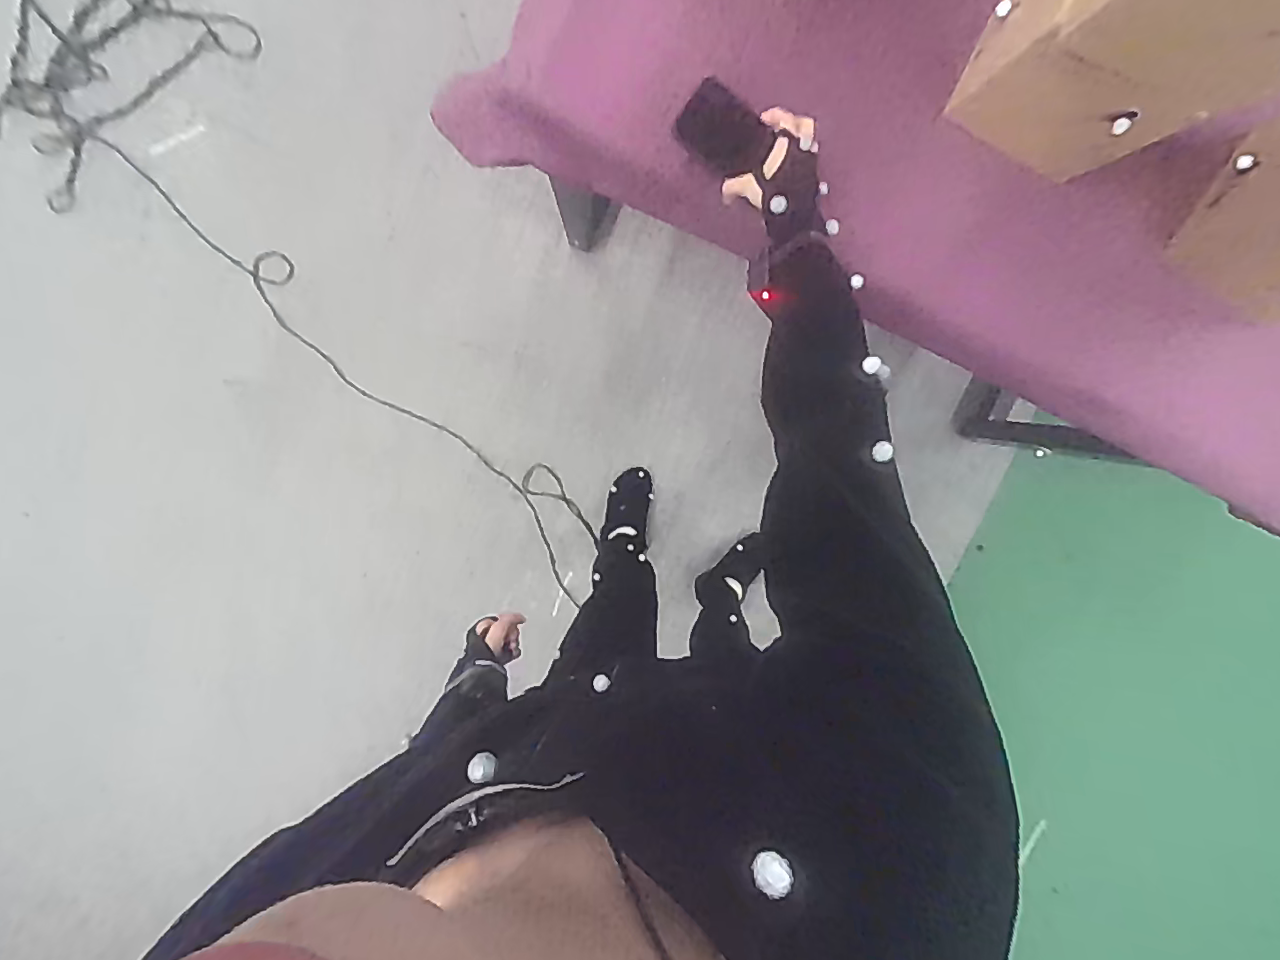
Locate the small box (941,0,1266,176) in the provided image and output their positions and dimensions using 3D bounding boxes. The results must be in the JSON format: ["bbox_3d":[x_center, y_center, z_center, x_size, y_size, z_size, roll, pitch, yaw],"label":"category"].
[{"bbox_3d":[0.466,-0.450,0.559,0.179,0.176,0.168,25,97,-7],"label":"small box"}]
